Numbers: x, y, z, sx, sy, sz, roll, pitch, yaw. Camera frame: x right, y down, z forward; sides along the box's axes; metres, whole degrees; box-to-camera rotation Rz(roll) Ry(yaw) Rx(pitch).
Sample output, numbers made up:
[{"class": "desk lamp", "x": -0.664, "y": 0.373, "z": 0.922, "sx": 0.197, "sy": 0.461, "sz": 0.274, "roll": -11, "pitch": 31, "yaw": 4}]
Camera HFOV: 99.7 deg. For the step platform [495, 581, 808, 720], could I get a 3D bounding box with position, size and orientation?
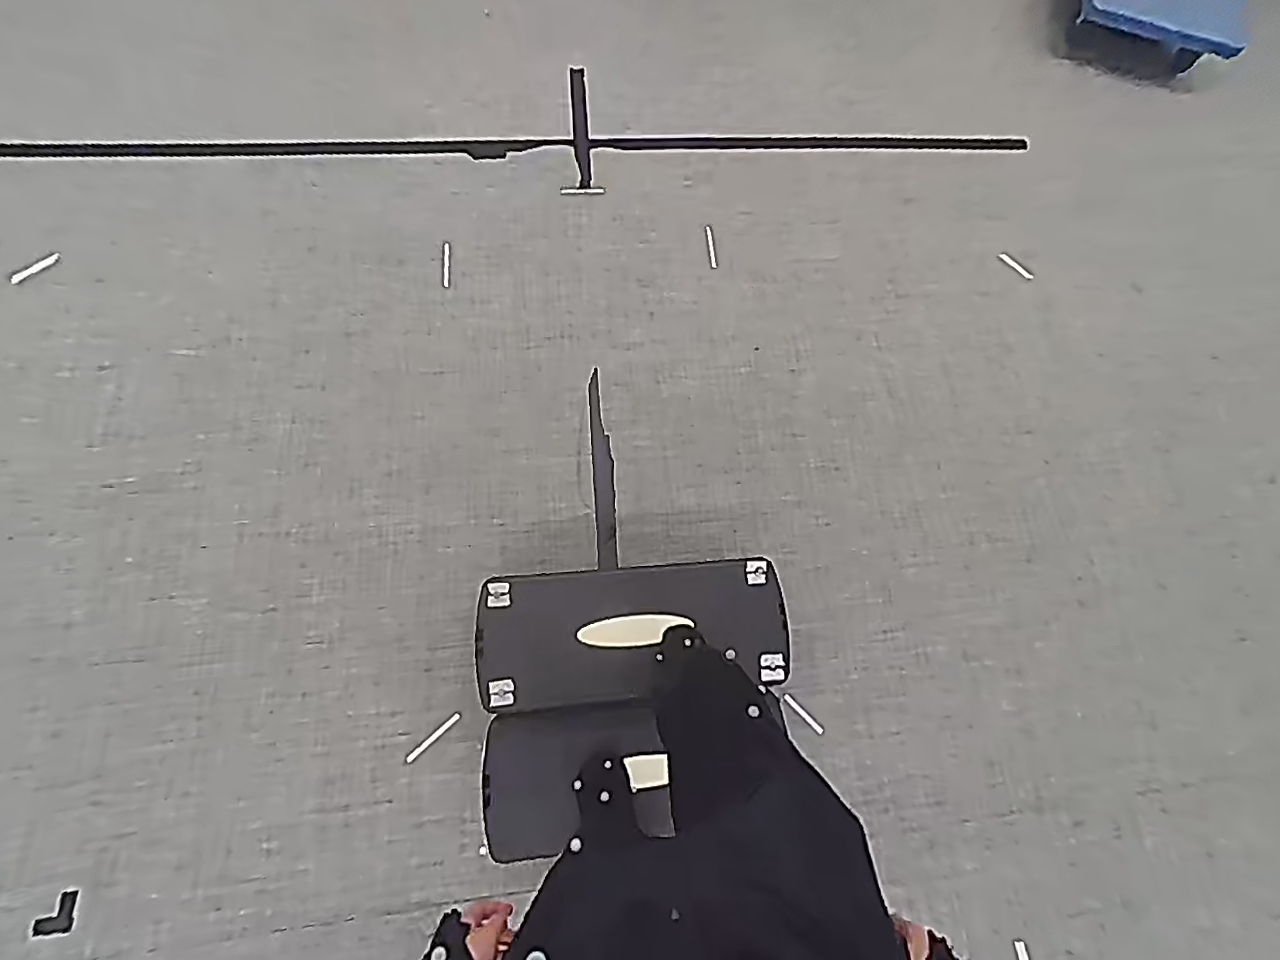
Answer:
[{"class": "step platform", "x": 0.024, "y": 0.379, "z": 1.223, "sx": 0.684, "sy": 0.204, "sz": 0.286, "roll": 1, "pitch": 71, "yaw": -6}]
